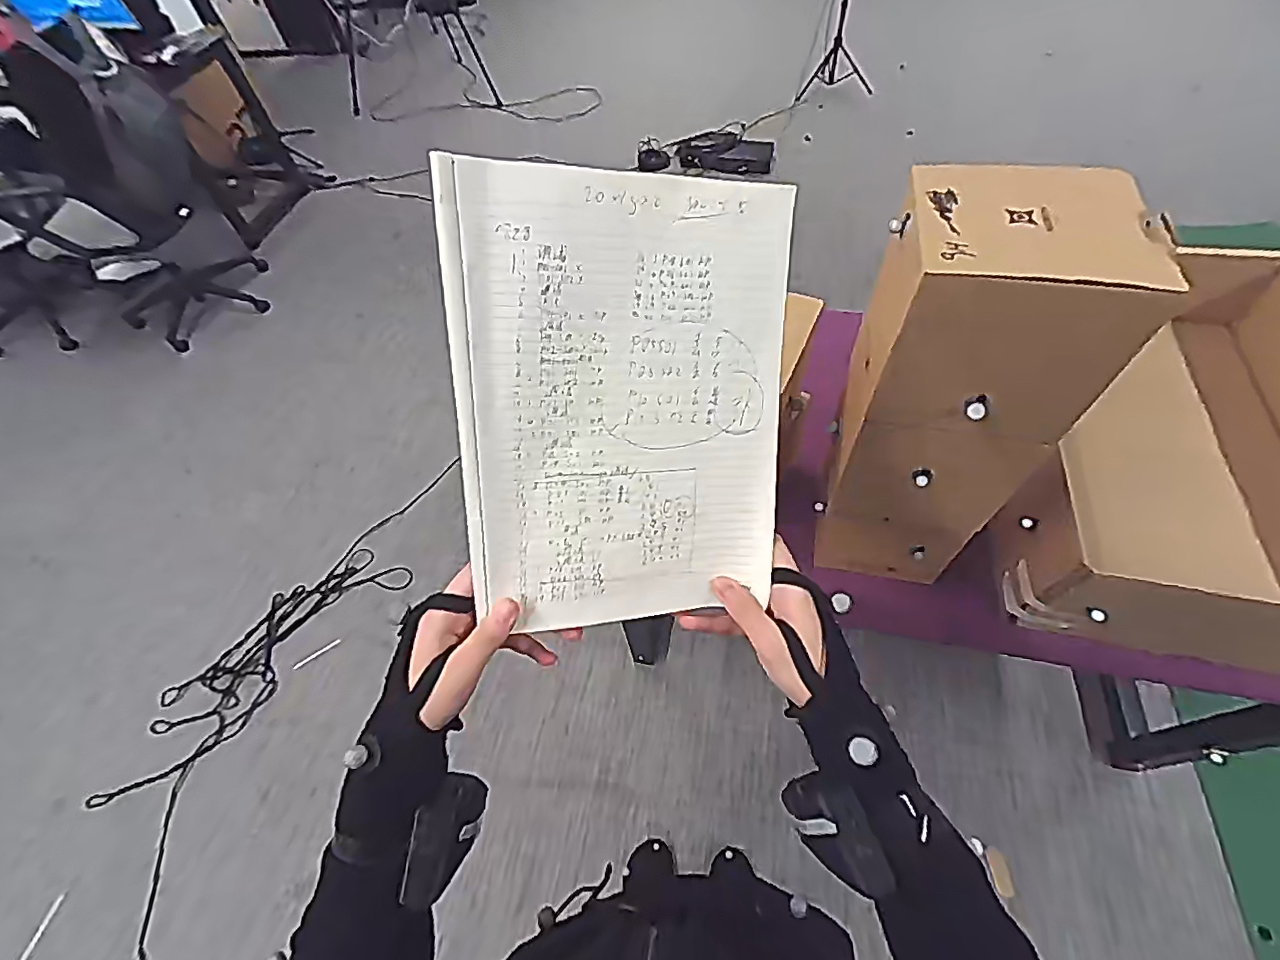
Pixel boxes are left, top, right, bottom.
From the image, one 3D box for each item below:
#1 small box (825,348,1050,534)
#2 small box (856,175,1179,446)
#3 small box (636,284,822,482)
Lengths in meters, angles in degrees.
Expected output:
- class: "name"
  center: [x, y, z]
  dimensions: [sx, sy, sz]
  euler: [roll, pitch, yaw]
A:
- class: "small box"
  center: [0.327, -0.054, 0.631]
  dimensions: [0.179, 0.176, 0.168]
  euler: [9, 55, 12]
- class: "small box"
  center: [0.314, -0.150, 0.498]
  dimensions: [0.179, 0.176, 0.168]
  euler: [9, 55, 11]
- class: "small box"
  center: [0.114, -0.120, 0.701]
  dimensions: [0.179, 0.176, 0.168]
  euler: [19, 59, 19]
